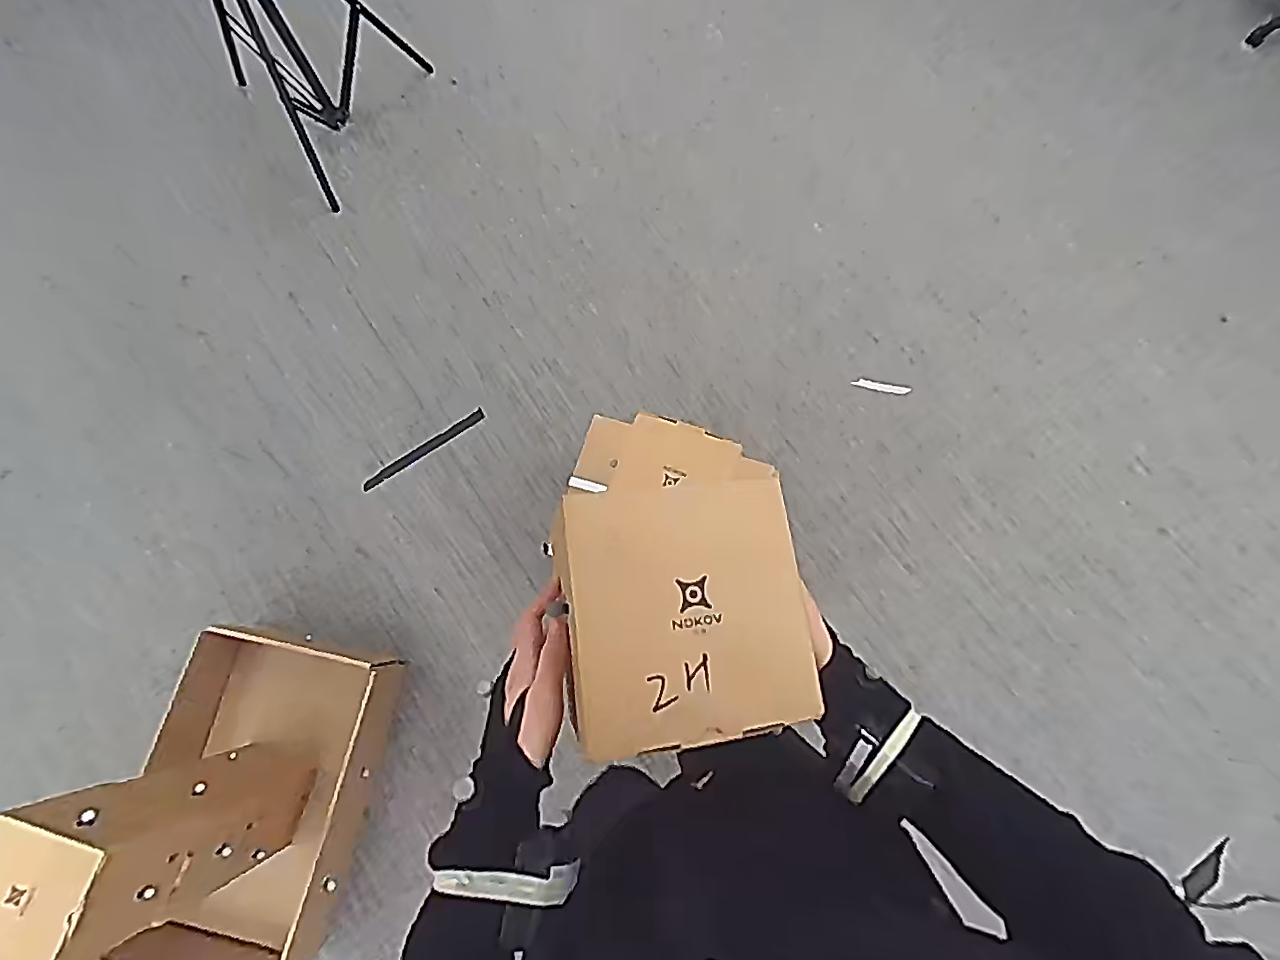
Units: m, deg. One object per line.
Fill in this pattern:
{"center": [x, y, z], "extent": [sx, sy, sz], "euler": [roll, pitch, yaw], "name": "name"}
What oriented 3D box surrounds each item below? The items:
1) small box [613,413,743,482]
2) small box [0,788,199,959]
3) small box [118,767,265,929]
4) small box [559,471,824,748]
{"center": [0.045, 0.024, 0.851], "extent": [0.168, 0.176, 0.179], "euler": [19, 77, 5], "name": "small box"}
{"center": [-0.826, 0.582, 0.800], "extent": [0.179, 0.176, 0.168], "euler": [15, 75, 4], "name": "small box"}
{"center": [-0.820, 0.633, 0.956], "extent": [0.179, 0.176, 0.168], "euler": [16, 75, 4], "name": "small box"}
{"center": [0.024, 0.102, 0.453], "extent": [0.168, 0.176, 0.179], "euler": [-4, 77, -12], "name": "small box"}
